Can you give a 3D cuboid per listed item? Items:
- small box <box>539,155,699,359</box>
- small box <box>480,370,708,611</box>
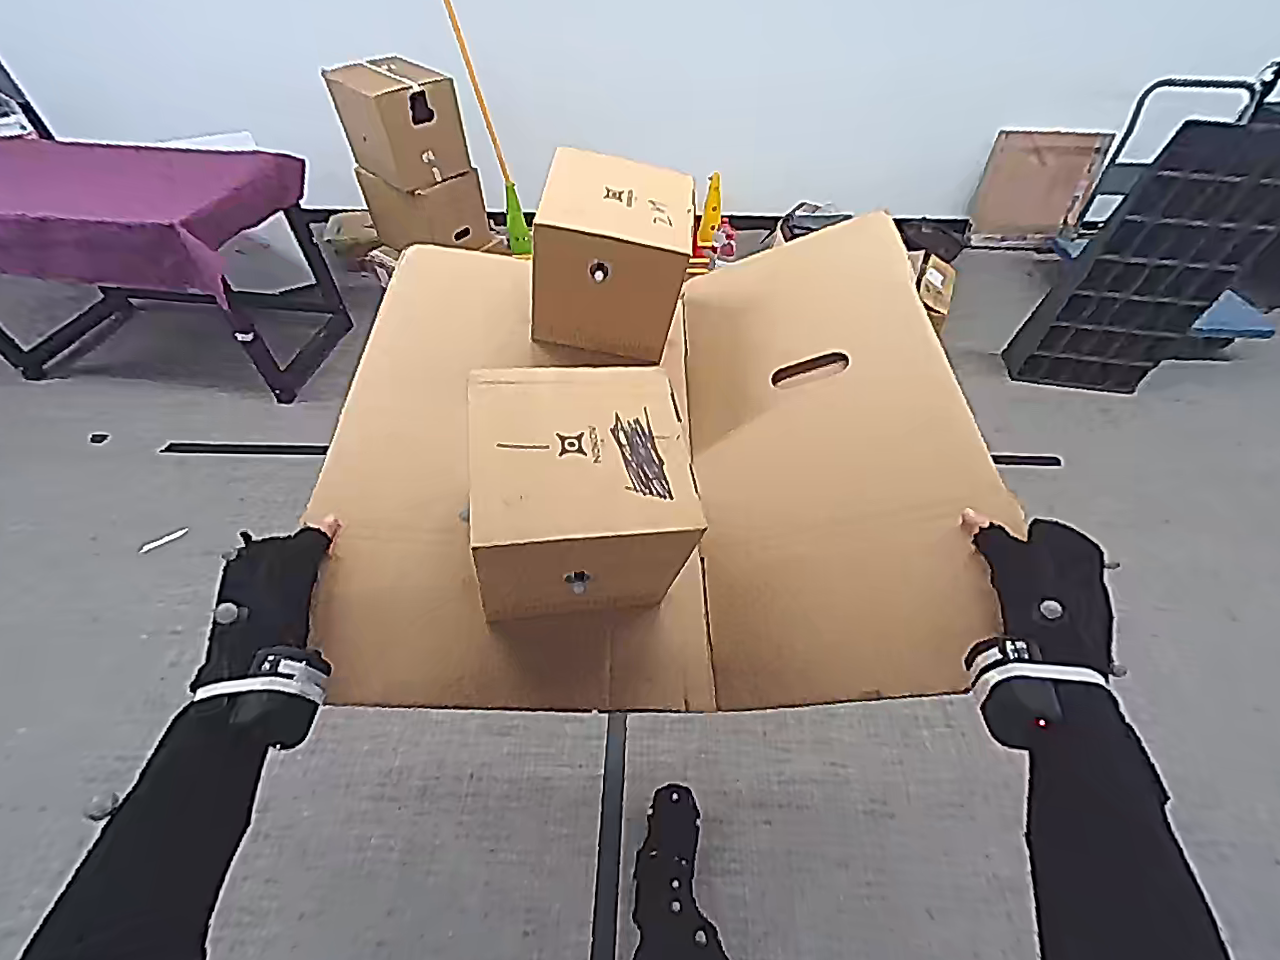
[{"bbox_3d":[-0.031,-0.281,0.703,0.179,0.176,0.168,10,57,-6],"label":"small box"},{"bbox_3d":[-0.056,0.015,0.512,0.179,0.176,0.168,-3,59,-13],"label":"small box"}]
